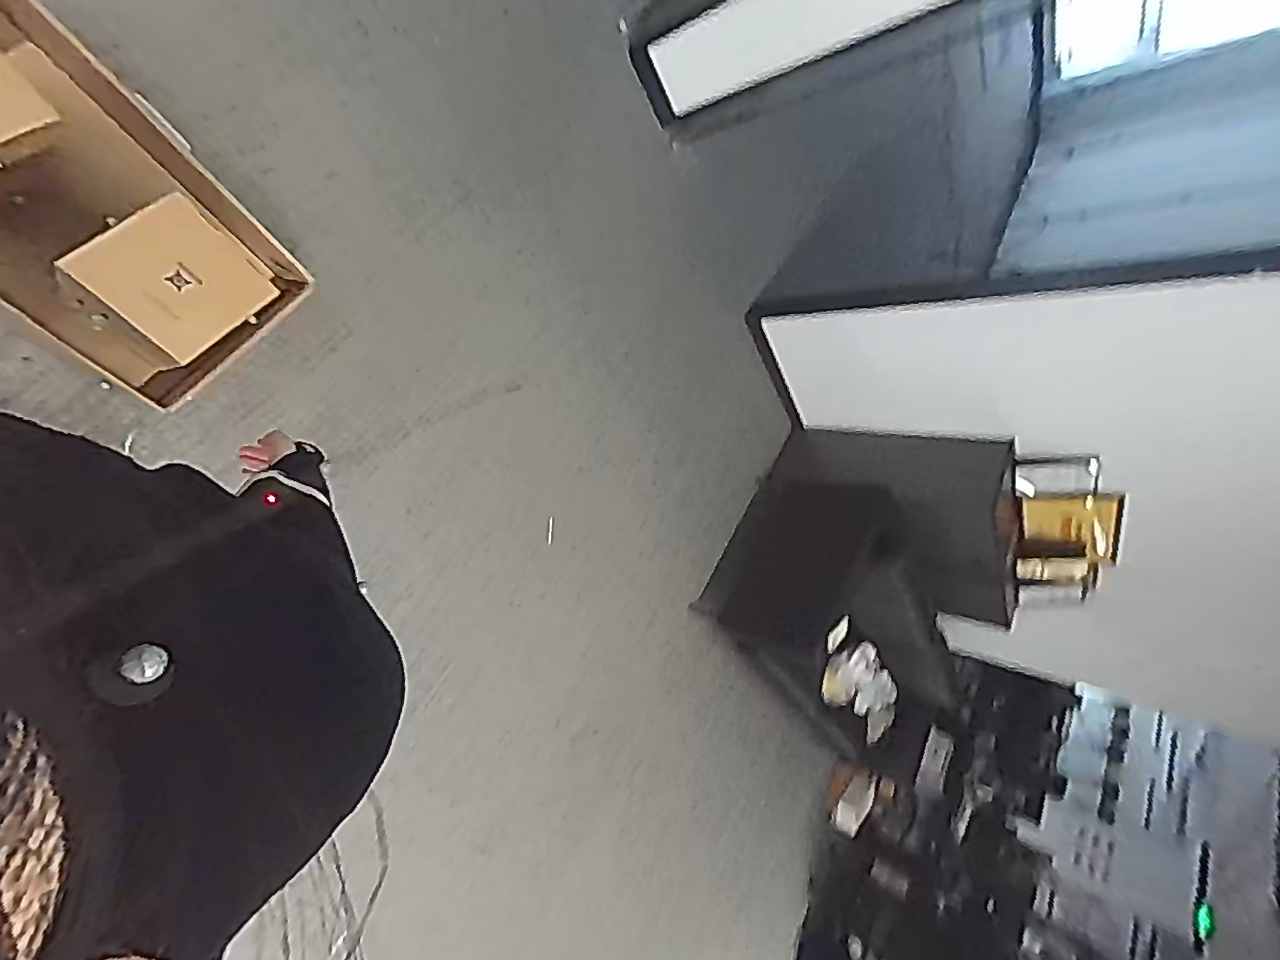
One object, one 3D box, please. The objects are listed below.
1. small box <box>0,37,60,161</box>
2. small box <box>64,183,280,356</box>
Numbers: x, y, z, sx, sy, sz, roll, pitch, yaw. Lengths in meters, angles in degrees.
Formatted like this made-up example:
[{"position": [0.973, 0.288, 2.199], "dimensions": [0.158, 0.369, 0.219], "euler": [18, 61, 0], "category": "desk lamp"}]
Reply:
[{"position": [-0.942, -0.530, 0.721], "dimensions": [0.179, 0.176, 0.168], "euler": [-52, 132, -28], "category": "small box"}, {"position": [-0.693, -0.303, 0.802], "dimensions": [0.179, 0.176, 0.168], "euler": [-54, 132, -25], "category": "small box"}]
